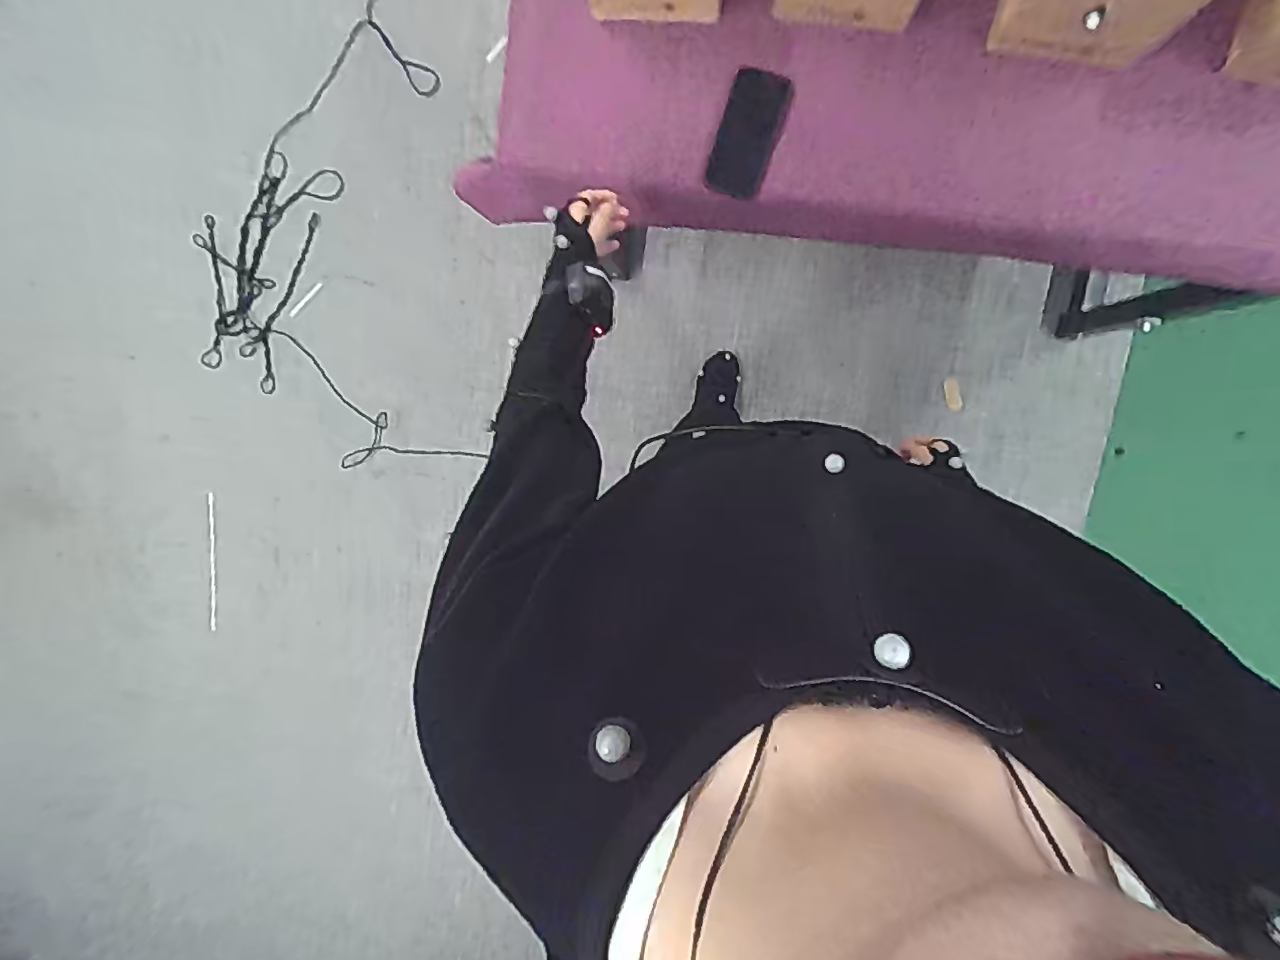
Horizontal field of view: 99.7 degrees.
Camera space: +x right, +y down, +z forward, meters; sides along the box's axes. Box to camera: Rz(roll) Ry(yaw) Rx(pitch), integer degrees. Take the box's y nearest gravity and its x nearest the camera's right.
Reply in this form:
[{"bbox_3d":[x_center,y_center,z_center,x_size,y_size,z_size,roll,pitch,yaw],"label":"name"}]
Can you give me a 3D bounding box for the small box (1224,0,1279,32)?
[{"bbox_3d":[0.728,-0.567,0.506,0.168,0.176,0.179,13,100,7],"label":"small box"}]
